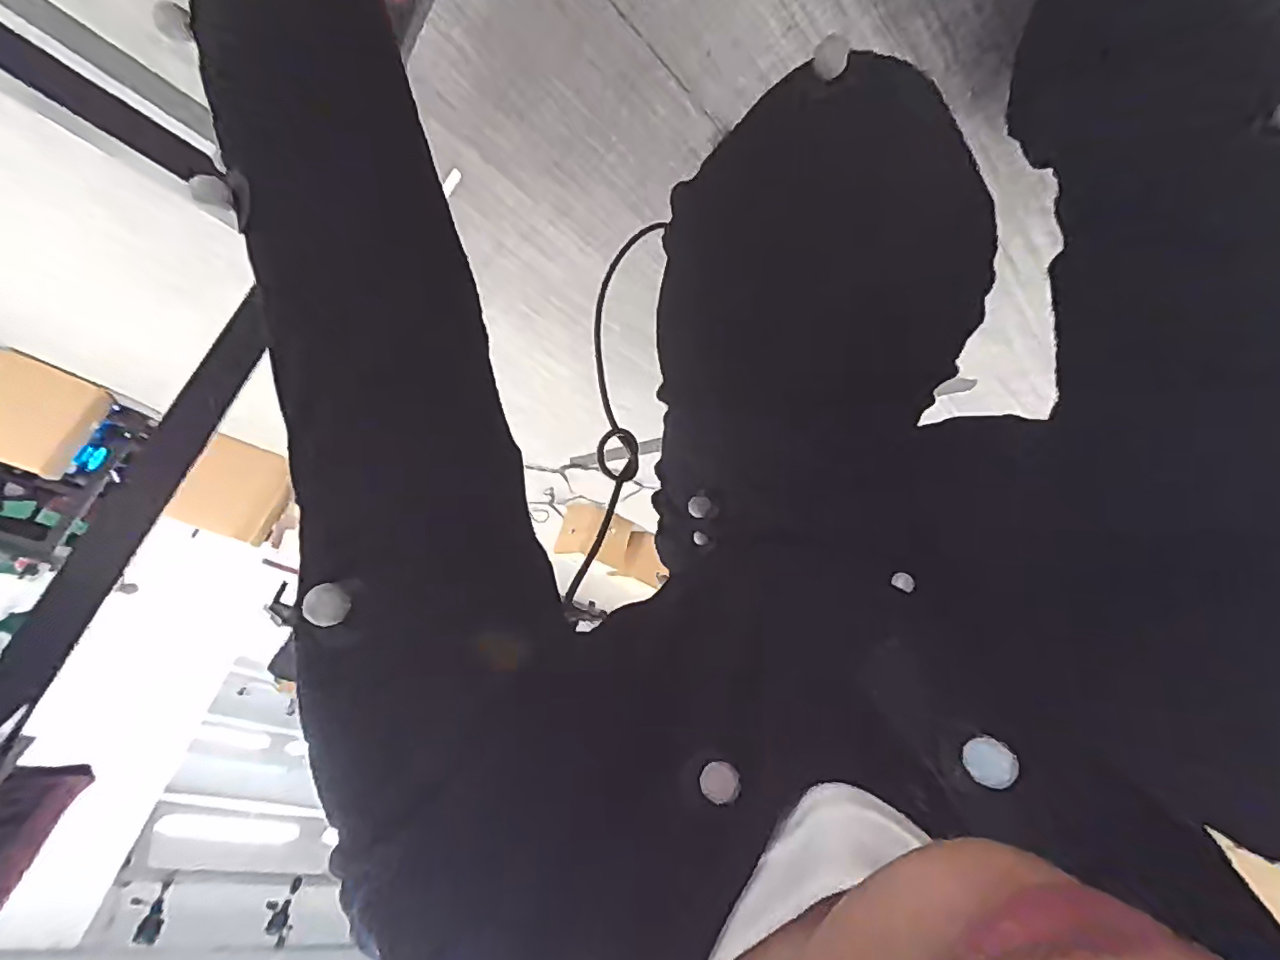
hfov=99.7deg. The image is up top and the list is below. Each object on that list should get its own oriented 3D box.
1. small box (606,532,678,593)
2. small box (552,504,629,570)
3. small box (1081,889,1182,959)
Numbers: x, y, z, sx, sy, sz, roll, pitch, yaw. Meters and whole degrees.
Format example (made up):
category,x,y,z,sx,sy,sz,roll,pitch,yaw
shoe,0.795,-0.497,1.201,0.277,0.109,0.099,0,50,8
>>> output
category,x,y,z,sx,sy,sz,roll,pitch,yaw
small box,0.011,0.292,1.932,0.179,0.176,0.168,31,156,-33
small box,-0.161,0.192,1.812,0.168,0.176,0.179,30,156,-31
small box,1.250,1.170,1.373,0.168,0.176,0.179,33,155,-34
